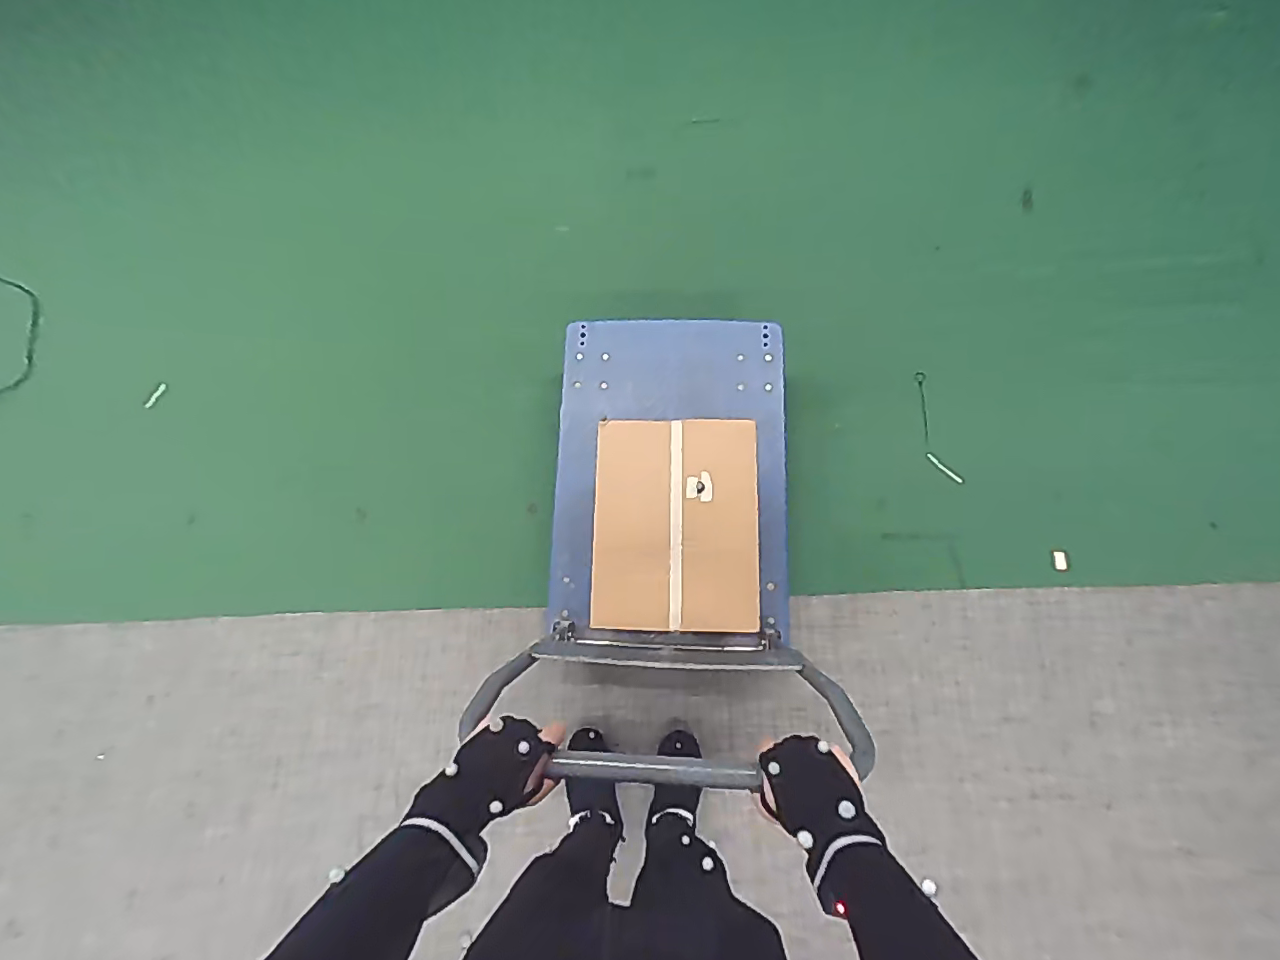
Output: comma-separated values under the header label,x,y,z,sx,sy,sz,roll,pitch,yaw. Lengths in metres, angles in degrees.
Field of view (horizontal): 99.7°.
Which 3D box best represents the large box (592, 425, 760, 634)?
label,x,y,z,sx,sy,sz,roll,pitch,yaw
large box,0.079,0.118,1.176,0.320,0.320,0.408,1,78,3
